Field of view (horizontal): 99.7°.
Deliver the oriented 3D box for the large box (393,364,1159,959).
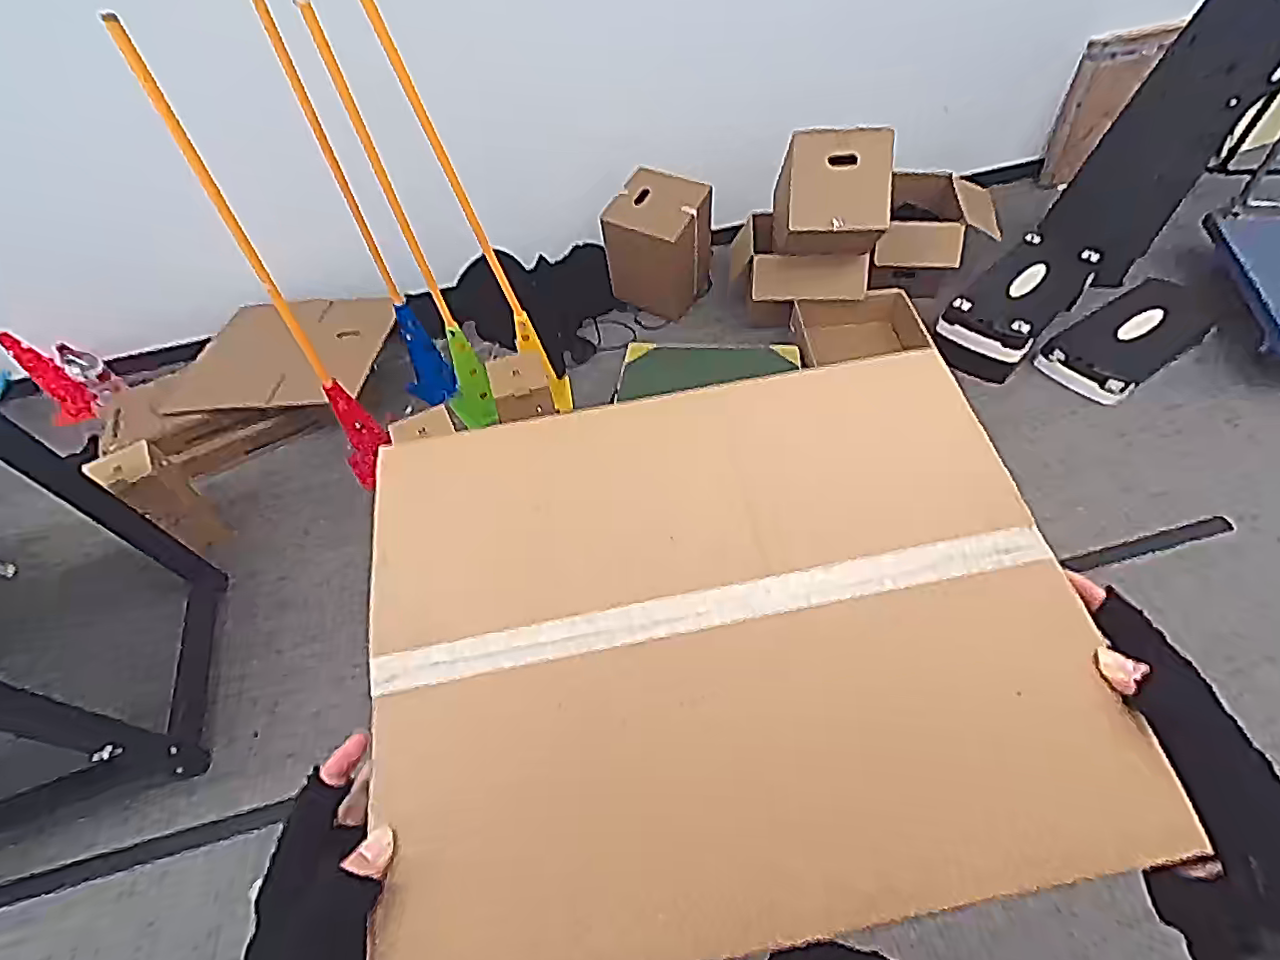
[{"bbox_3d":[0.053,0.149,0.467,0.408,0.320,0.320,-11,64,-2],"label":"large box"}]
